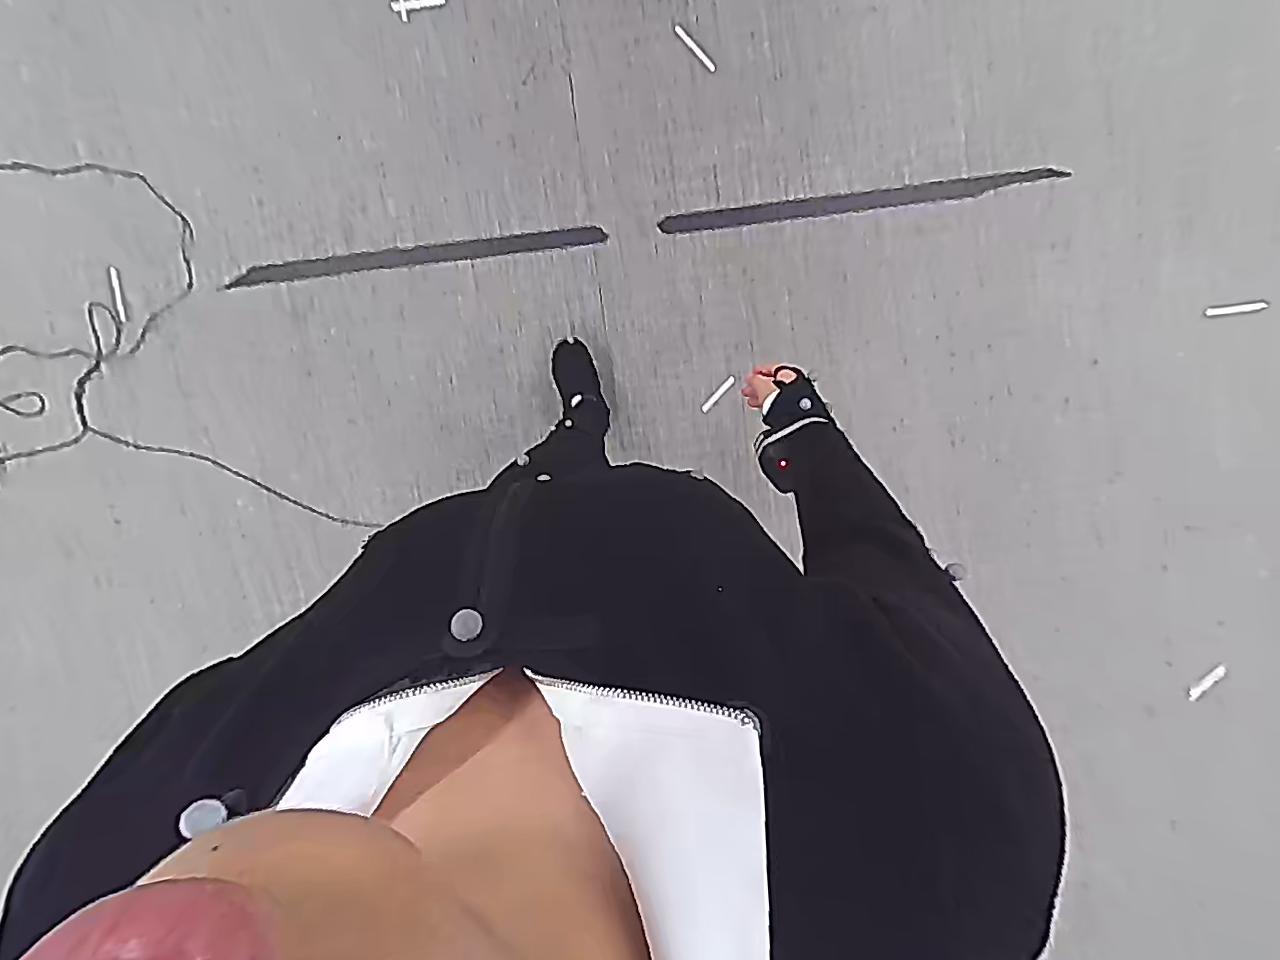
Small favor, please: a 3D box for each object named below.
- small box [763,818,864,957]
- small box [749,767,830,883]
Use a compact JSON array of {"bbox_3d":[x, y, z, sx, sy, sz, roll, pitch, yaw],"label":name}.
[{"bbox_3d":[0.379,0.898,1.203,0.168,0.176,0.179,-9,96,2],"label":"small box"},{"bbox_3d":[0.378,0.864,1.364,0.168,0.176,0.179,-8,96,2],"label":"small box"}]
